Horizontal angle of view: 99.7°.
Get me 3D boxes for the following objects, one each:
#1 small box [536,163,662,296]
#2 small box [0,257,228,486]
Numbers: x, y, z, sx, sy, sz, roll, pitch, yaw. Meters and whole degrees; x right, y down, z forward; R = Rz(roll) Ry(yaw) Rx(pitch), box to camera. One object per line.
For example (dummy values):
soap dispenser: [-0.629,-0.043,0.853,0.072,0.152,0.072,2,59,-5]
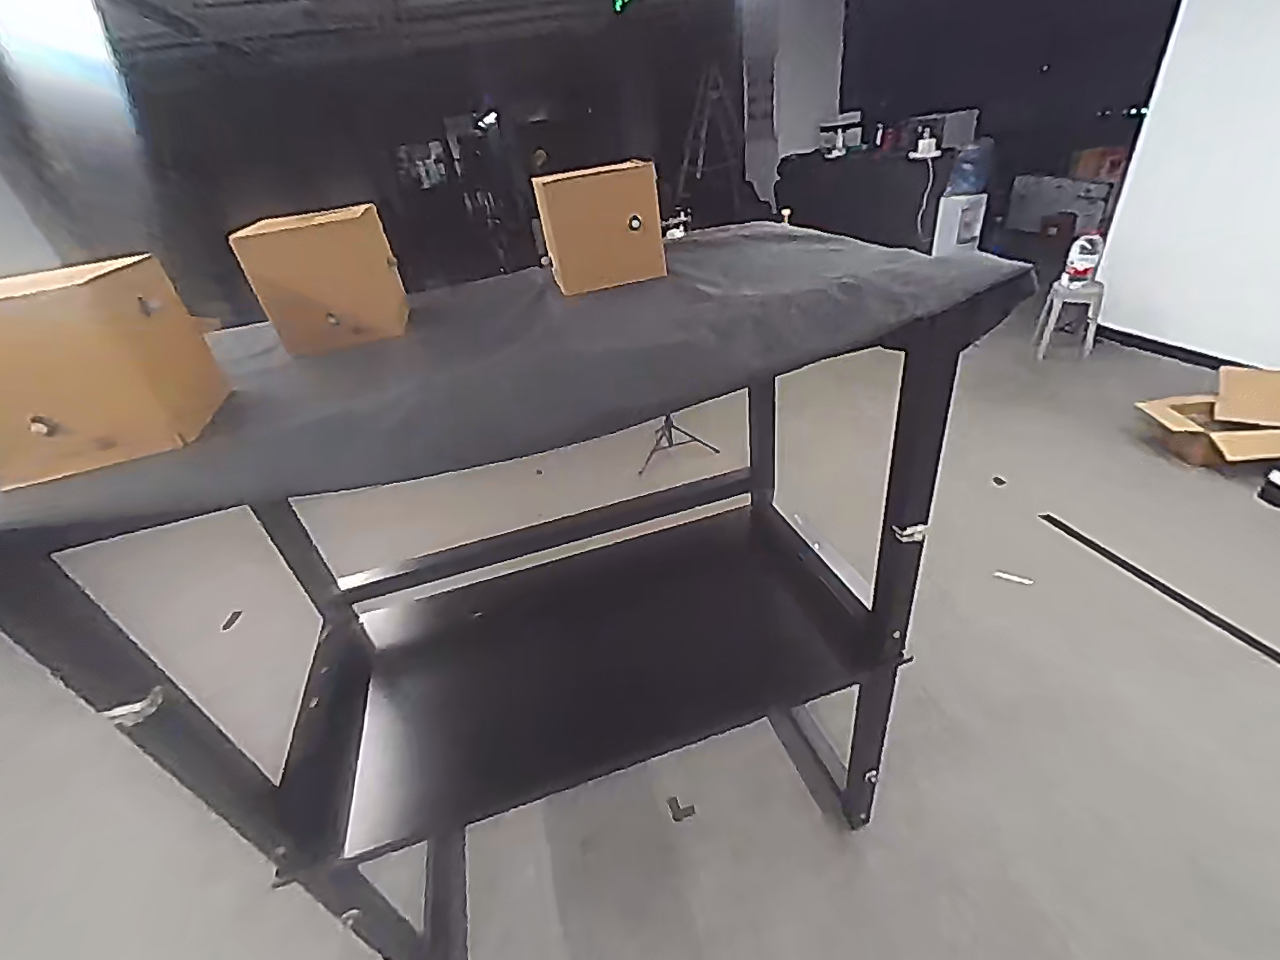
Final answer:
small box: [-0.066,-0.422,0.906,0.179,0.176,0.168,-14,32,-8]
small box: [-0.574,-0.119,0.562,0.168,0.176,0.179,-17,35,-13]
